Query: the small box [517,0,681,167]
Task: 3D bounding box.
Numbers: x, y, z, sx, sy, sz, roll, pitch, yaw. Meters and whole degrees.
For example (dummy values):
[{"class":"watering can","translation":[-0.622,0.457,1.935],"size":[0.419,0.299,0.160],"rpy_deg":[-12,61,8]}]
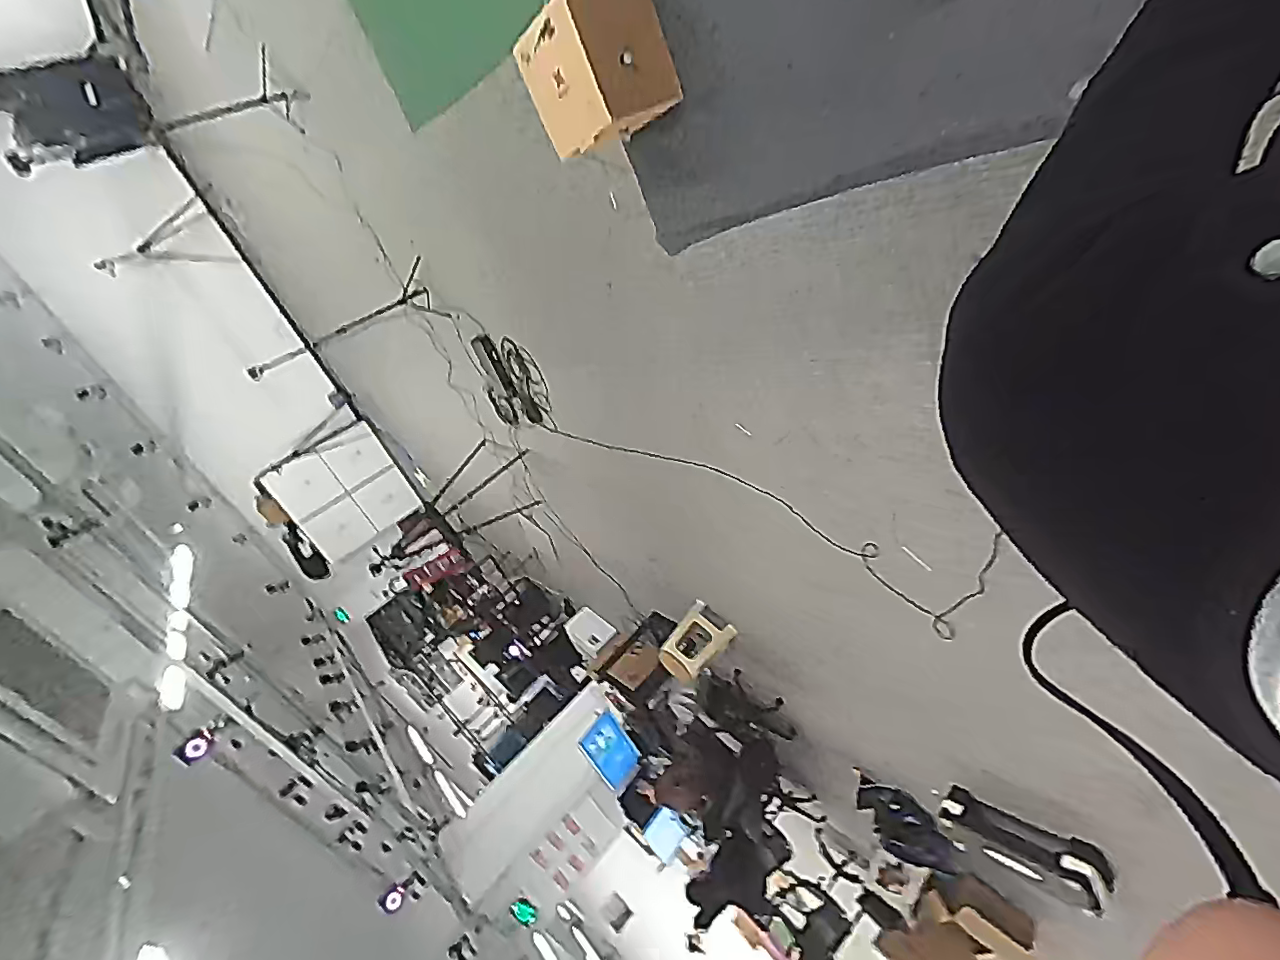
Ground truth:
[{"class":"small box","translation":[-0.060,-0.654,0.882],"size":[0.168,0.176,0.179],"rpy_deg":[8,132,51]}]
